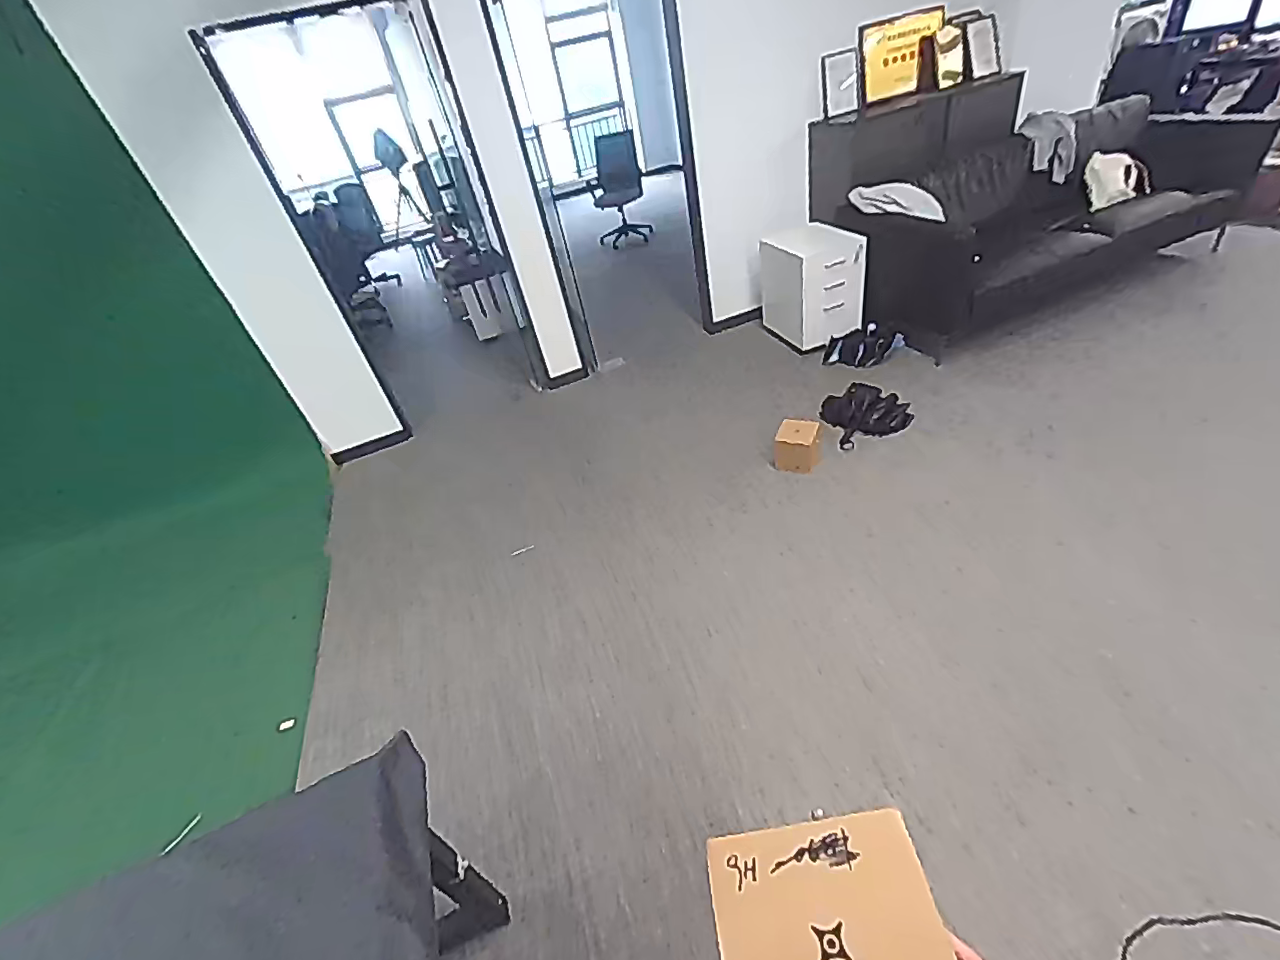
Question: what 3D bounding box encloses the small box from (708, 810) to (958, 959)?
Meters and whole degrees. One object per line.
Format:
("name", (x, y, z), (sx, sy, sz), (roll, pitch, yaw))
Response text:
("small box", (0.162, 0.400, 0.441), (0.168, 0.176, 0.179), (-14, 42, 7))
